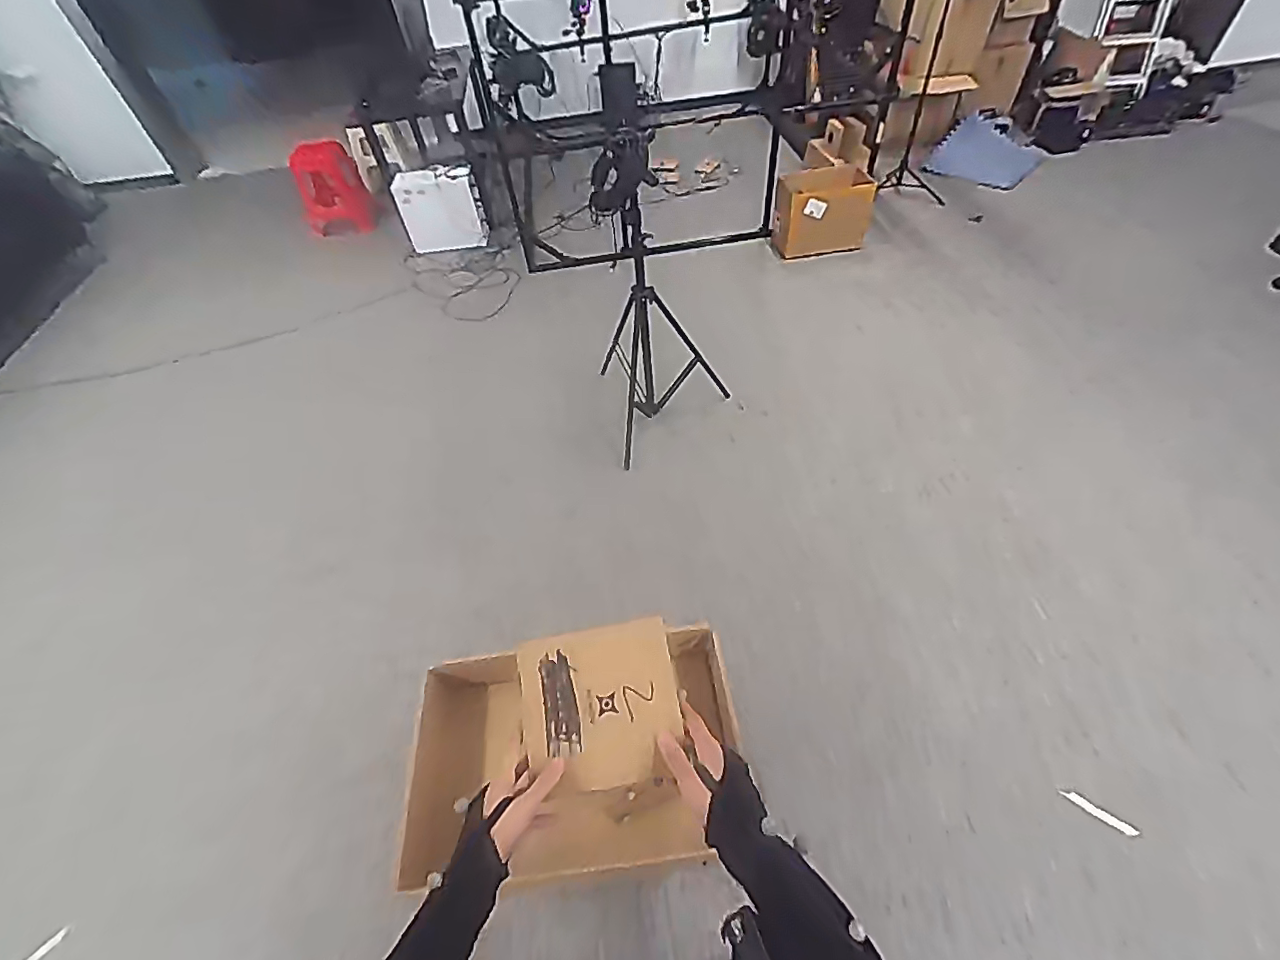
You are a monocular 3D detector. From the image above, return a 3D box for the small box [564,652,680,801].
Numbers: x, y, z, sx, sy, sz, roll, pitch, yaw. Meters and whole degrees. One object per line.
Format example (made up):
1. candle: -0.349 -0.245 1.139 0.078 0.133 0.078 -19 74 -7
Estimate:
1. small box: -0.029 0.417 0.912 0.168 0.176 0.179 -10 51 -1
